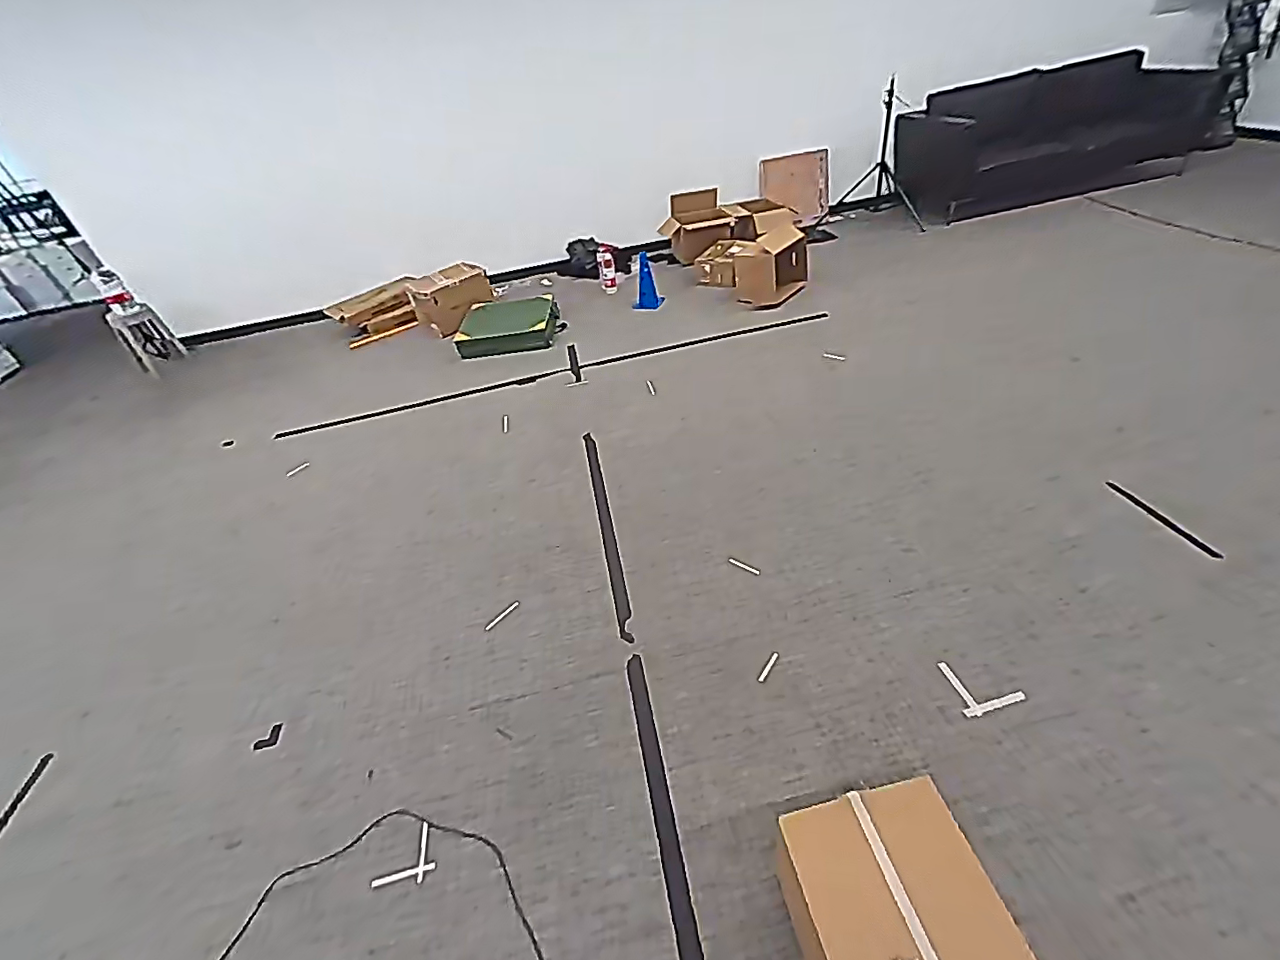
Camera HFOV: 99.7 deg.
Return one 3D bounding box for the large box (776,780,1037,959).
[{"bbox_3d":[0.473,0.850,0.986,0.320,0.320,0.408,-14,40,-4],"label":"large box"}]
